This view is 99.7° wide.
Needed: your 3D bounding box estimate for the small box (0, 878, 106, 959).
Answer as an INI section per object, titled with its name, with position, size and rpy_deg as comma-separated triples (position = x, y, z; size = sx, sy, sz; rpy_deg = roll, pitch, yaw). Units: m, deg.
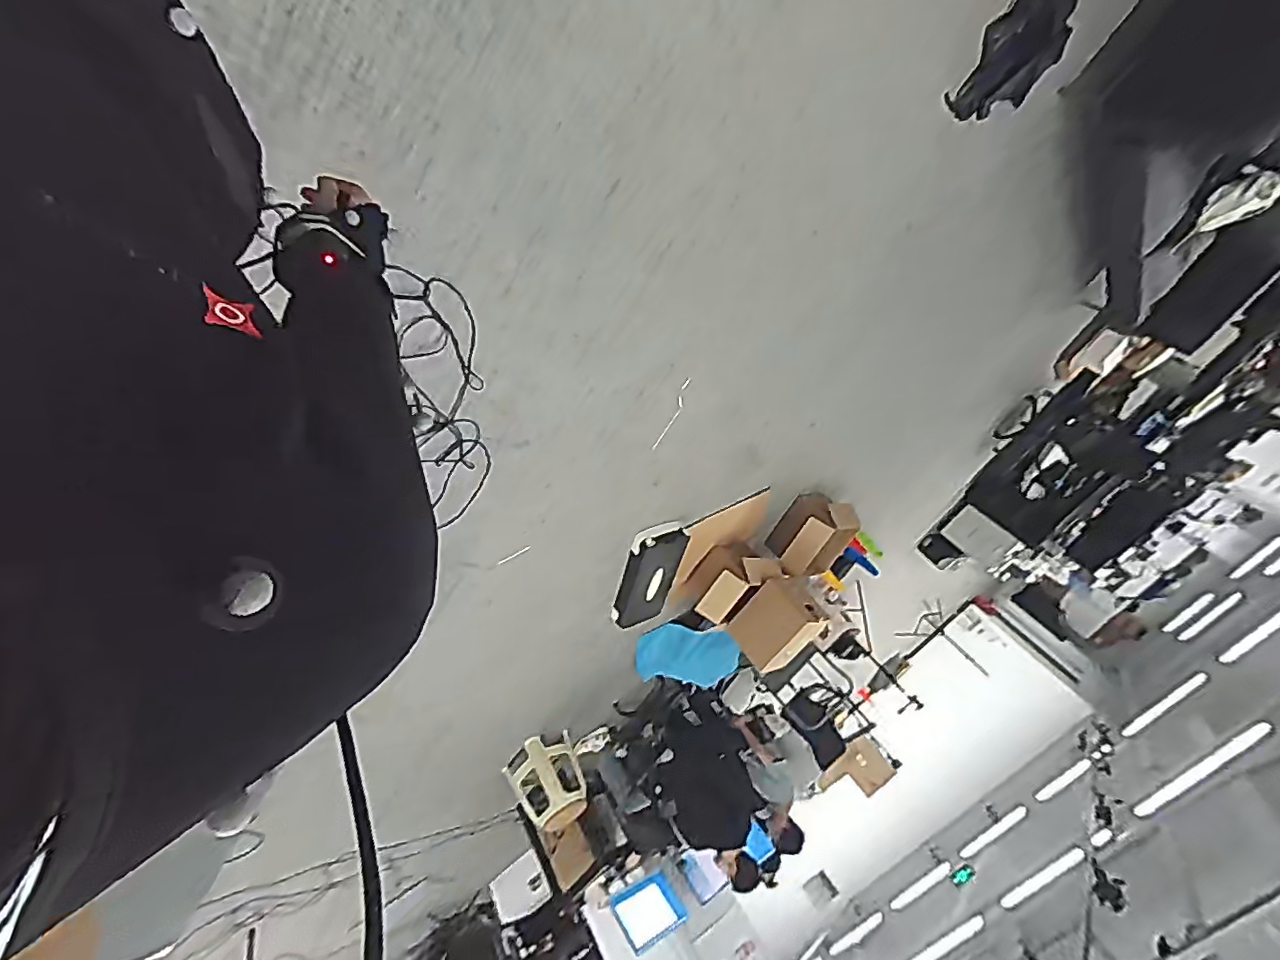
[small box]
position = -0.951, 0.753, 0.814
size = 0.168, 0.176, 0.179
rpy_deg = -50, 145, 15
